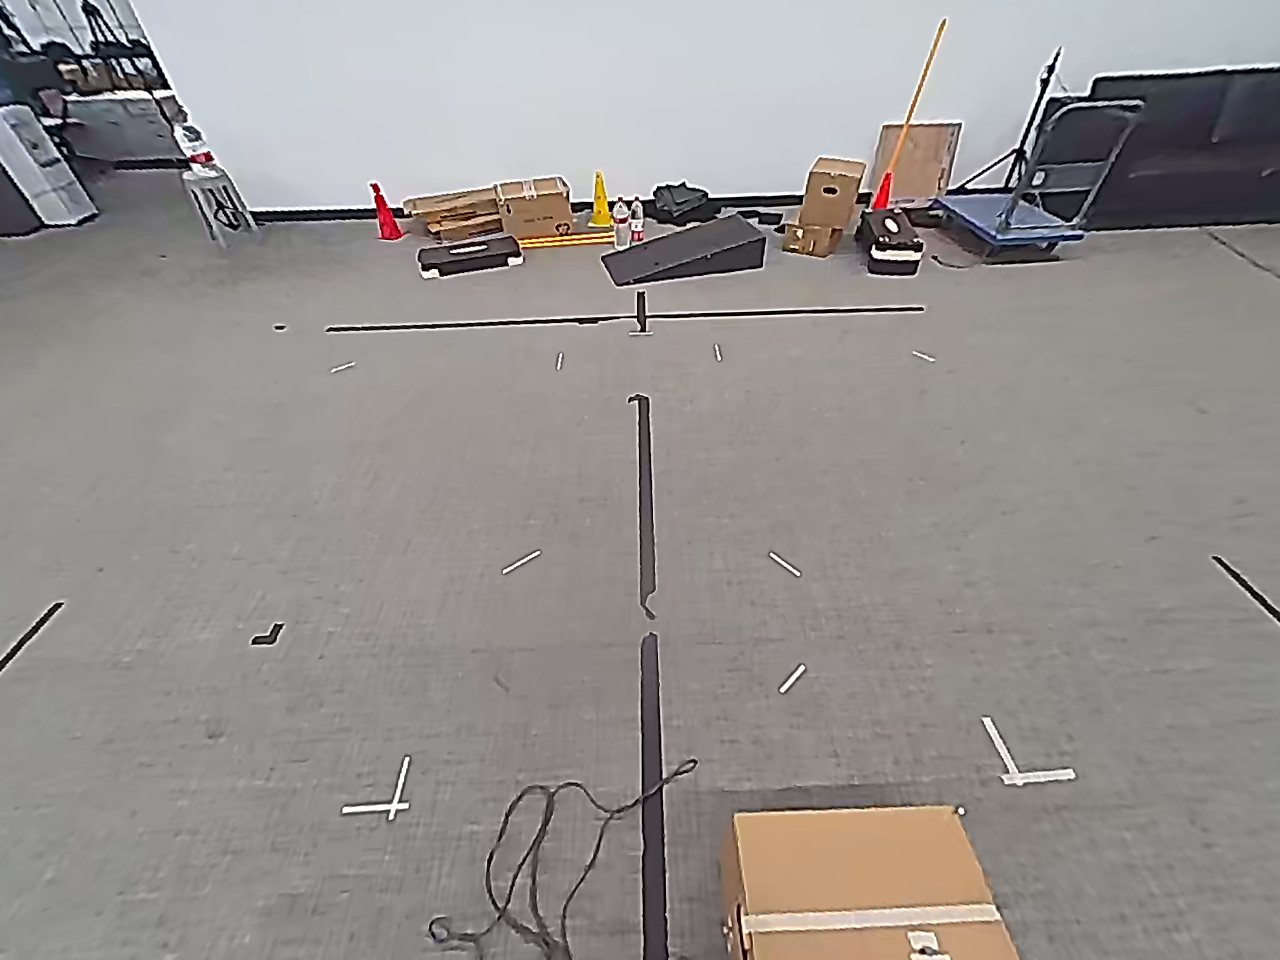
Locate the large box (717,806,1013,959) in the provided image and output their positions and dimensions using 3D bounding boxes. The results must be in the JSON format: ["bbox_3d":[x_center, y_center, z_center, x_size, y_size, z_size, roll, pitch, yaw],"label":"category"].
[{"bbox_3d":[0.371,0.814,0.963,0.408,0.320,0.320,-1,43,-1],"label":"large box"}]
